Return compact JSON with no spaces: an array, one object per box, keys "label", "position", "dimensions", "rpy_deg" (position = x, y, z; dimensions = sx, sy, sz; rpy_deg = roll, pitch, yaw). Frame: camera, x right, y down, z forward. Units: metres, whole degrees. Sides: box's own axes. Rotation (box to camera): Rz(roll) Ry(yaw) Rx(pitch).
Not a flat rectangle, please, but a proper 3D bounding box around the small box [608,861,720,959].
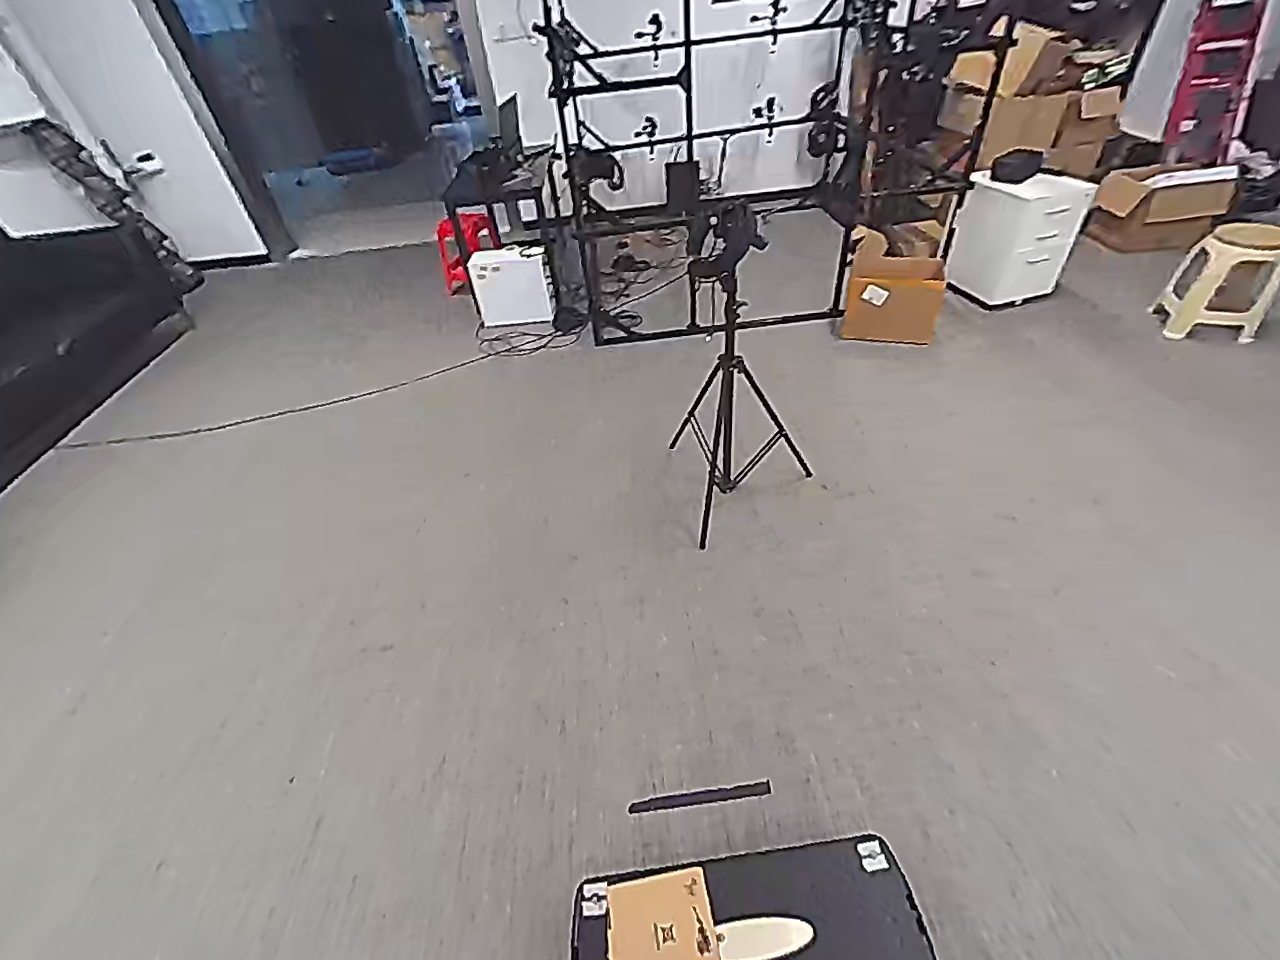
[{"label":"small box","position":[0.043,0.811,0.960],"dimensions":[0.179,0.176,0.168],"rpy_deg":[-10,42,-3]}]
